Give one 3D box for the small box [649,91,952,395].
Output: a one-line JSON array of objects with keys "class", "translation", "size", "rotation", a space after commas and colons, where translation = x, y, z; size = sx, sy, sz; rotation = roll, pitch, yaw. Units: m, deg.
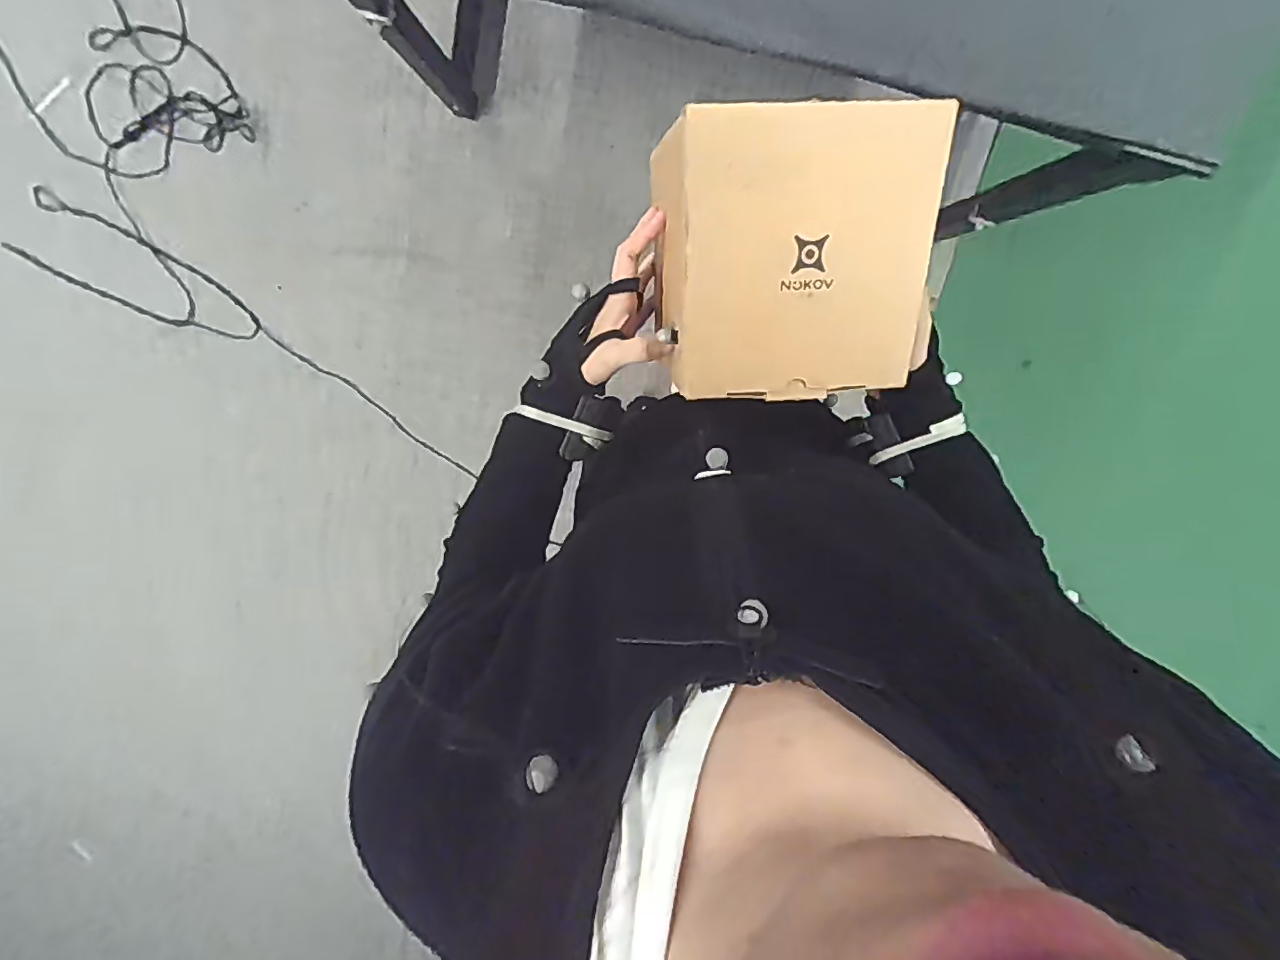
[{"class": "small box", "translation": [0.099, -0.176, 0.420], "size": [0.168, 0.176, 0.179], "rotation": [-5, 115, -5]}]
